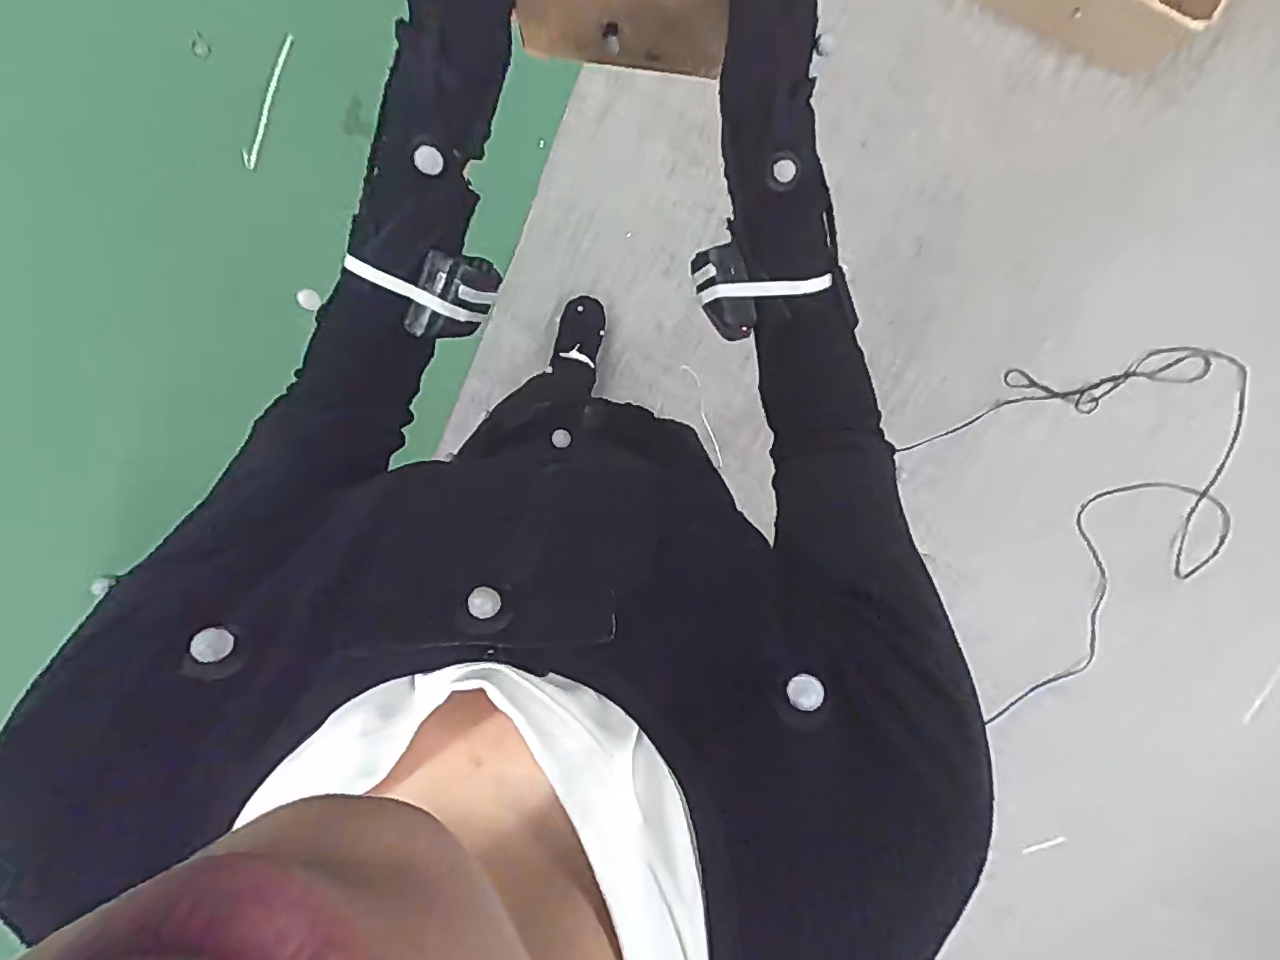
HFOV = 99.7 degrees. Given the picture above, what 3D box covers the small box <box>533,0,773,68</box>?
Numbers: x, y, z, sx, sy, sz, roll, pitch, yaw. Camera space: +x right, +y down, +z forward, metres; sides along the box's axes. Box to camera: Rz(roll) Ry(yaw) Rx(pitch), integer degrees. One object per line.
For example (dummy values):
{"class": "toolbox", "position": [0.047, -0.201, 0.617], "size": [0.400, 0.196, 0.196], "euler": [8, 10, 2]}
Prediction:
{"class": "small box", "position": [0.010, -0.406, 0.343], "size": [0.168, 0.176, 0.179], "euler": [2, 110, -7]}
